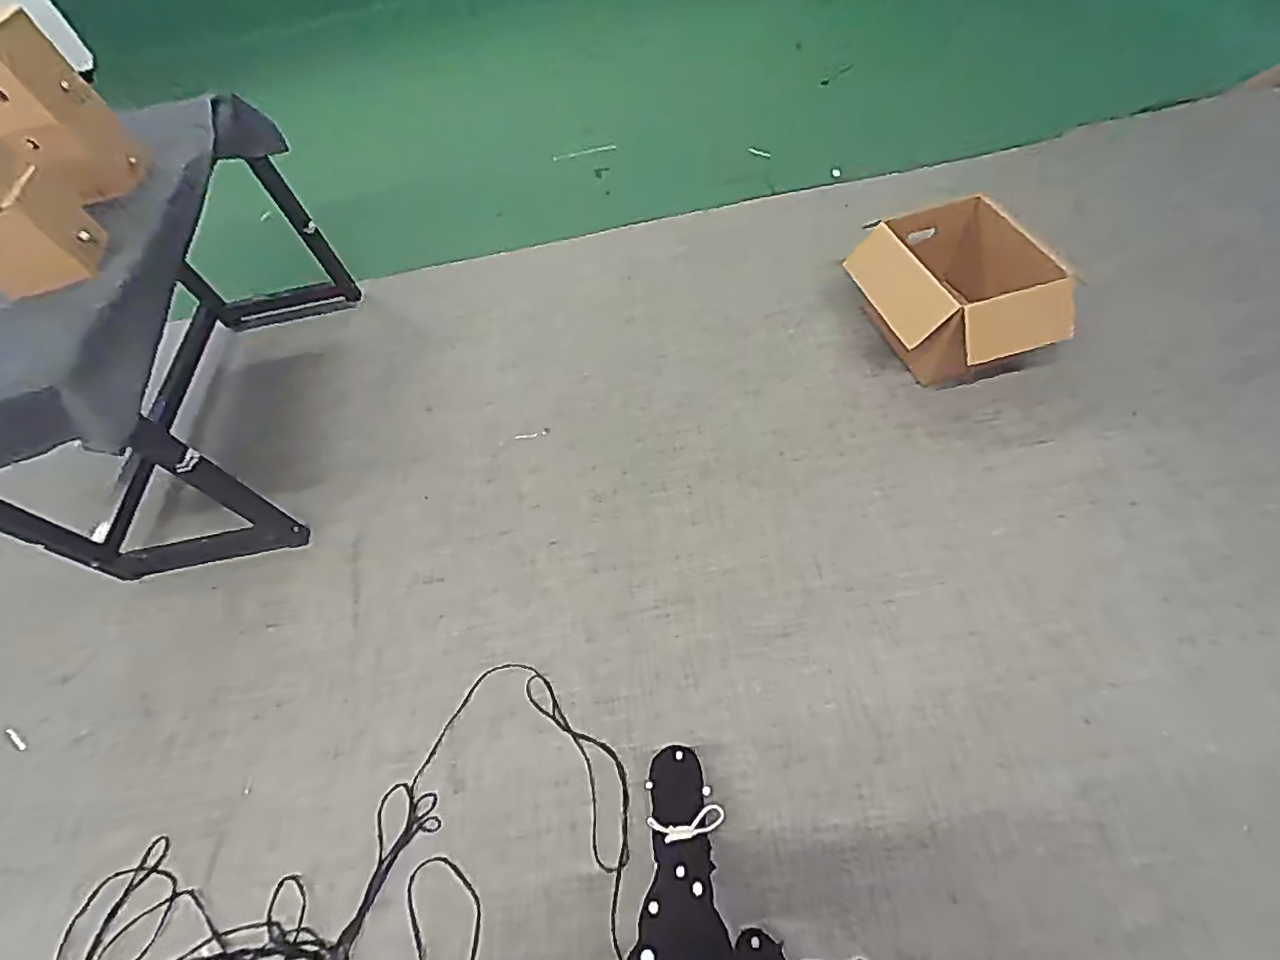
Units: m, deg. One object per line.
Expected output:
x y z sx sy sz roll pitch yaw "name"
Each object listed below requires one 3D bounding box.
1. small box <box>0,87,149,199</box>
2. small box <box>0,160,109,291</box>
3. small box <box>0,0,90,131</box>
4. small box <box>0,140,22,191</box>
-1.372 -0.822 1.326 0.168 0.176 0.179 -10 57 2 "small box"
-1.291 -0.526 1.131 0.179 0.176 0.168 -19 58 -4 "small box"
-1.396 -0.907 1.183 0.168 0.176 0.179 -9 58 3 "small box"
-1.327 -0.610 0.996 0.168 0.176 0.179 -15 57 -2 "small box"
